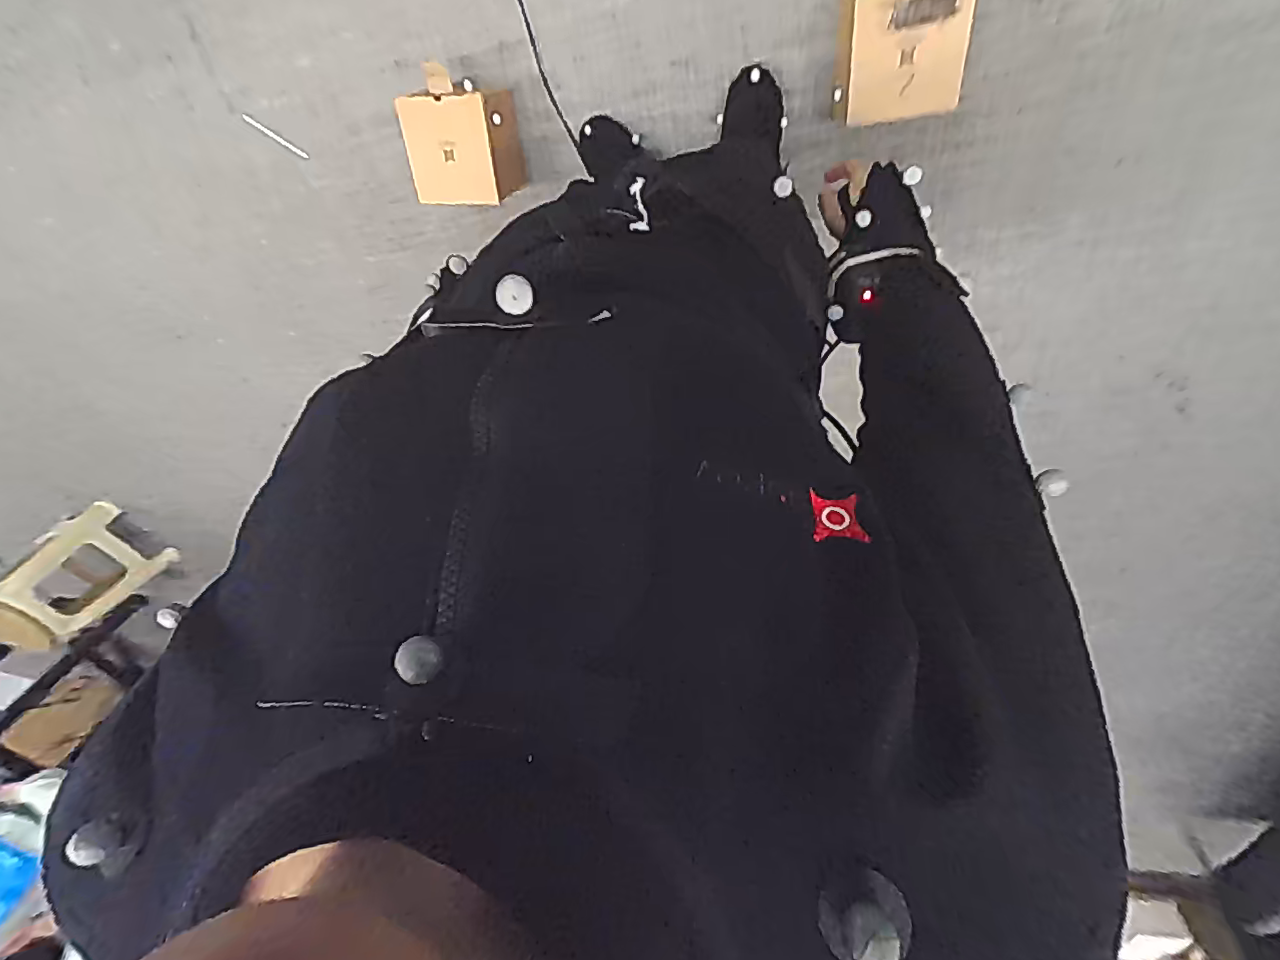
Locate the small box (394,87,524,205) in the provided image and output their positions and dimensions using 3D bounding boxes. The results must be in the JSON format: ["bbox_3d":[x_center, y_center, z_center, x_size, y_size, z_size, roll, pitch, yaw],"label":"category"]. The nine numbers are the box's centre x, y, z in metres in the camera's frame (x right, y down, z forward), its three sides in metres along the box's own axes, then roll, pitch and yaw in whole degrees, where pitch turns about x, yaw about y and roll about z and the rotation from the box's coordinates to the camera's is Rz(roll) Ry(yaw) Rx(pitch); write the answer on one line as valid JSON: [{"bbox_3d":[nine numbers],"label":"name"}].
[{"bbox_3d":[-0.336,-0.648,1.047,0.168,0.176,0.179,4,128,7],"label":"small box"}]
